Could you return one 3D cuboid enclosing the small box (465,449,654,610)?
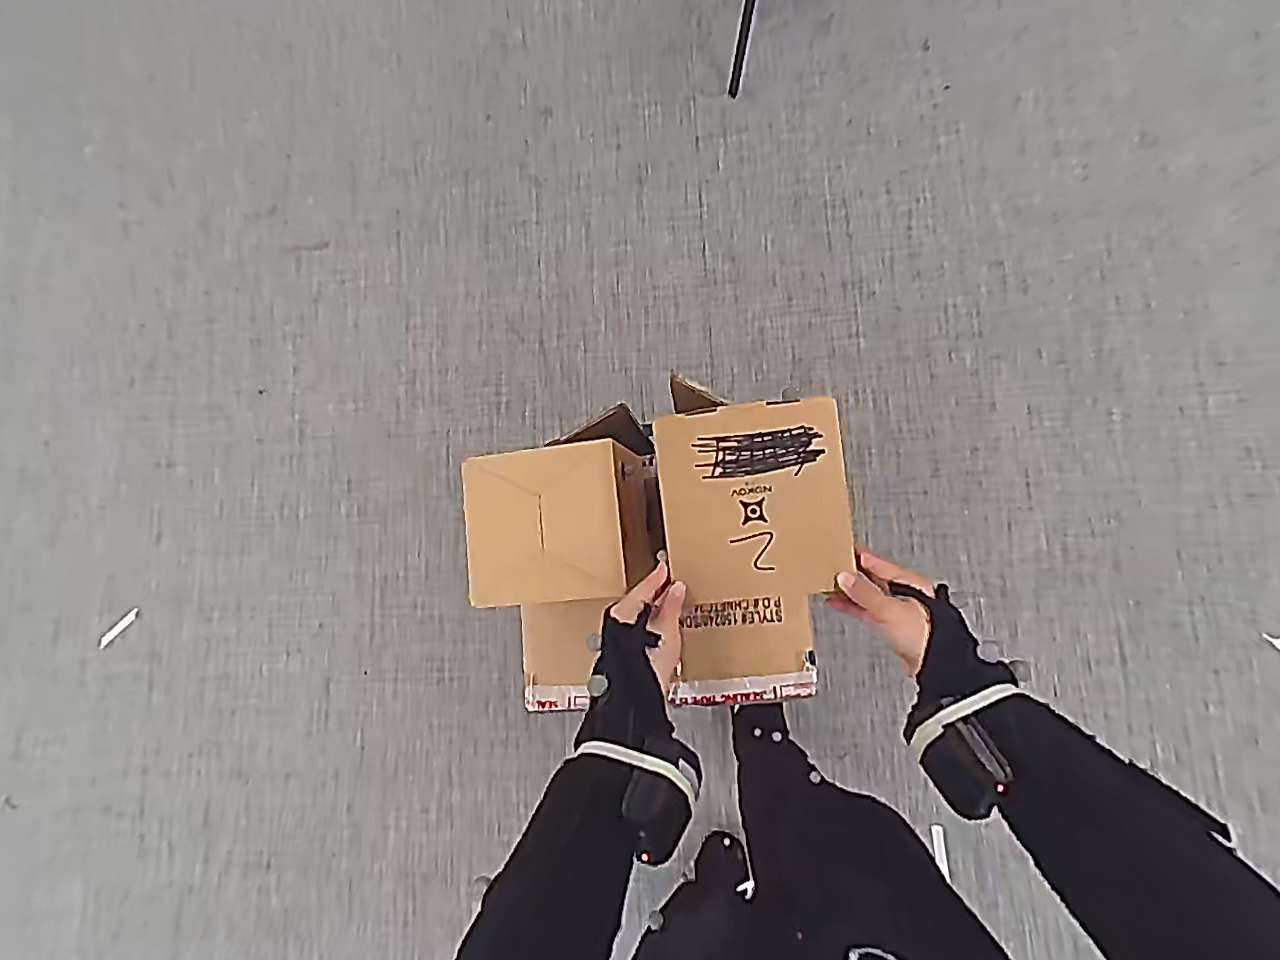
[{"bbox_3d":[-0.088,0.060,0.661,0.179,0.176,0.168,-7,83,10],"label":"small box"}]
